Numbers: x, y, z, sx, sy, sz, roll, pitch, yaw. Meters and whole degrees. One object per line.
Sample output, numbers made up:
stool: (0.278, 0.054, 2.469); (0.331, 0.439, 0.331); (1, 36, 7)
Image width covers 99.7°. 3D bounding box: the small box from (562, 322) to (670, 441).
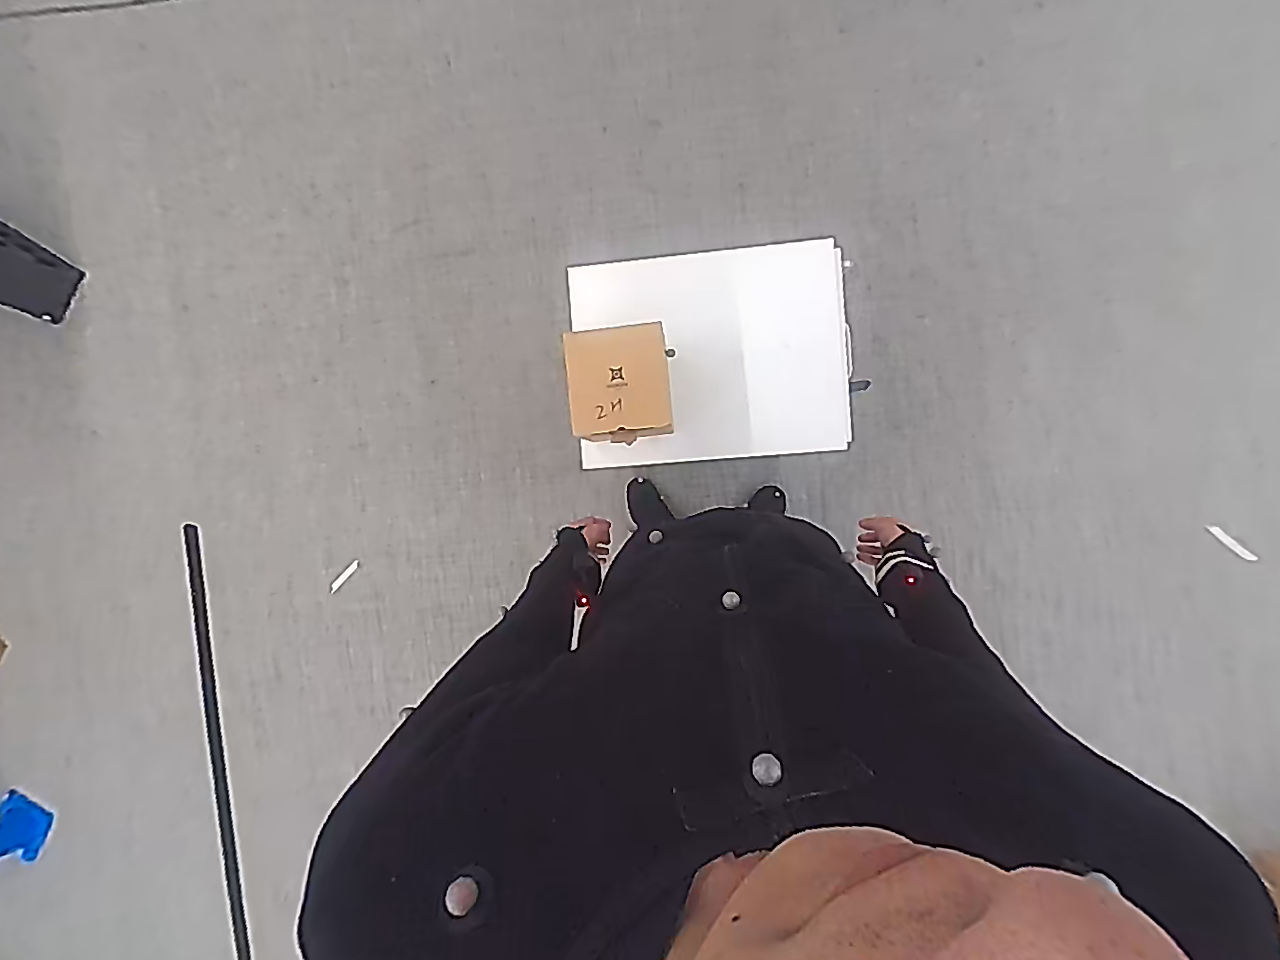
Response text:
small box: (-0.036, -0.167, 0.962); (0.168, 0.176, 0.179); (-5, 92, 6)
